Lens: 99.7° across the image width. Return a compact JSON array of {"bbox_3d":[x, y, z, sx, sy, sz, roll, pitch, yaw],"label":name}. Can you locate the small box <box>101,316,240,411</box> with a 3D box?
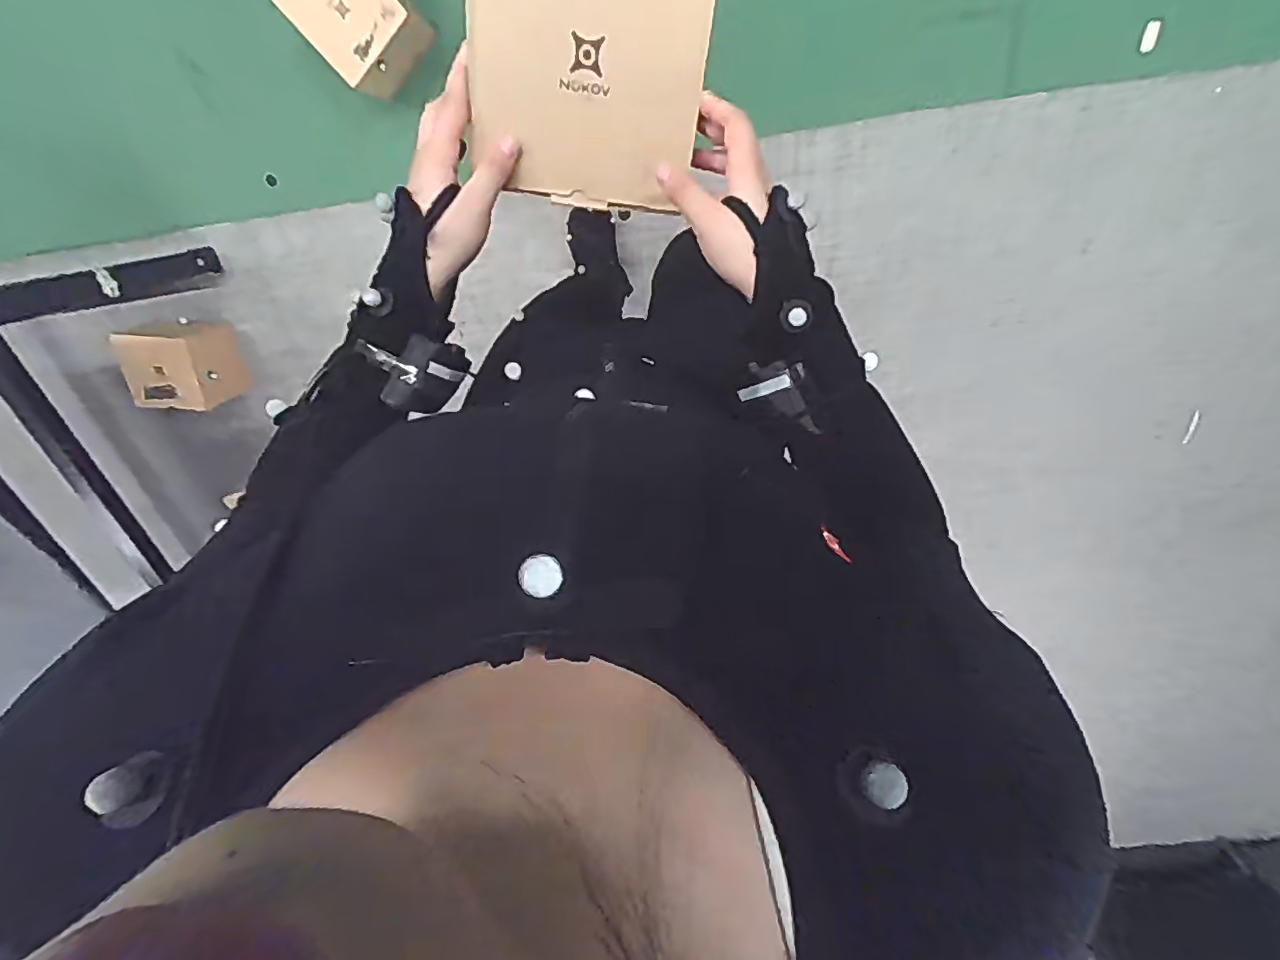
[{"bbox_3d":[-1.110,-0.281,1.299,0.168,0.176,0.179,3,118,-4],"label":"small box"}]

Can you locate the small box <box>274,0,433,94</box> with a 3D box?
[{"bbox_3d":[-0.519,-0.853,0.992,0.168,0.176,0.179,-36,114,18],"label":"small box"}]

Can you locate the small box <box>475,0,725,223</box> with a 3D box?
[{"bbox_3d":[-0.032,-0.325,0.442,0.168,0.176,0.179,5,121,-6],"label":"small box"}]
